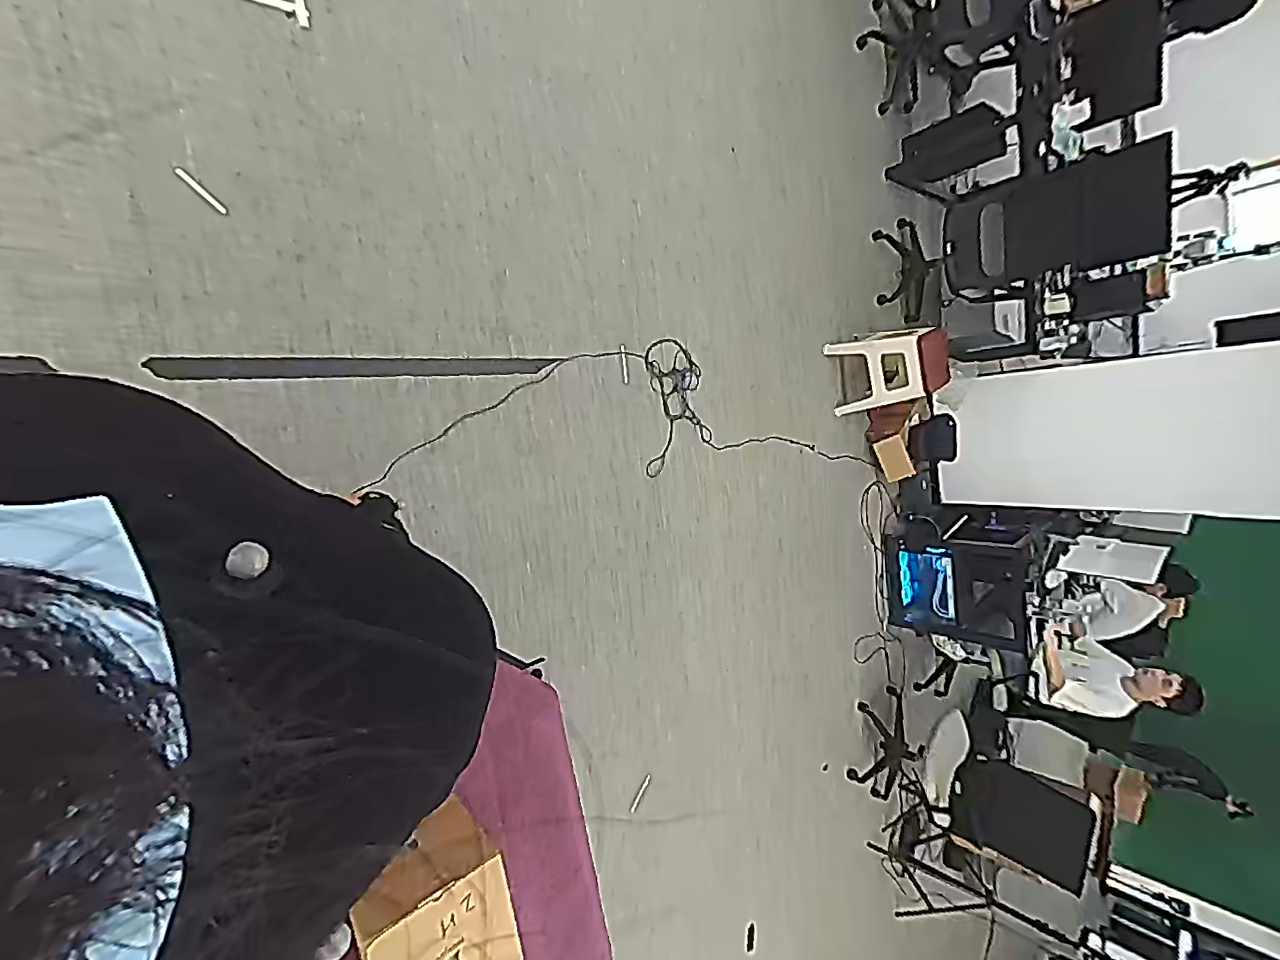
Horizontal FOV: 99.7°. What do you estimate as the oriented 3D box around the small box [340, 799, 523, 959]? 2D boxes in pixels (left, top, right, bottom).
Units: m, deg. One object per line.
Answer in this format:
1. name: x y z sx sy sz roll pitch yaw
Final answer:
1. small box: -0.278 0.576 0.717 0.168 0.176 0.179 -15 100 -39
